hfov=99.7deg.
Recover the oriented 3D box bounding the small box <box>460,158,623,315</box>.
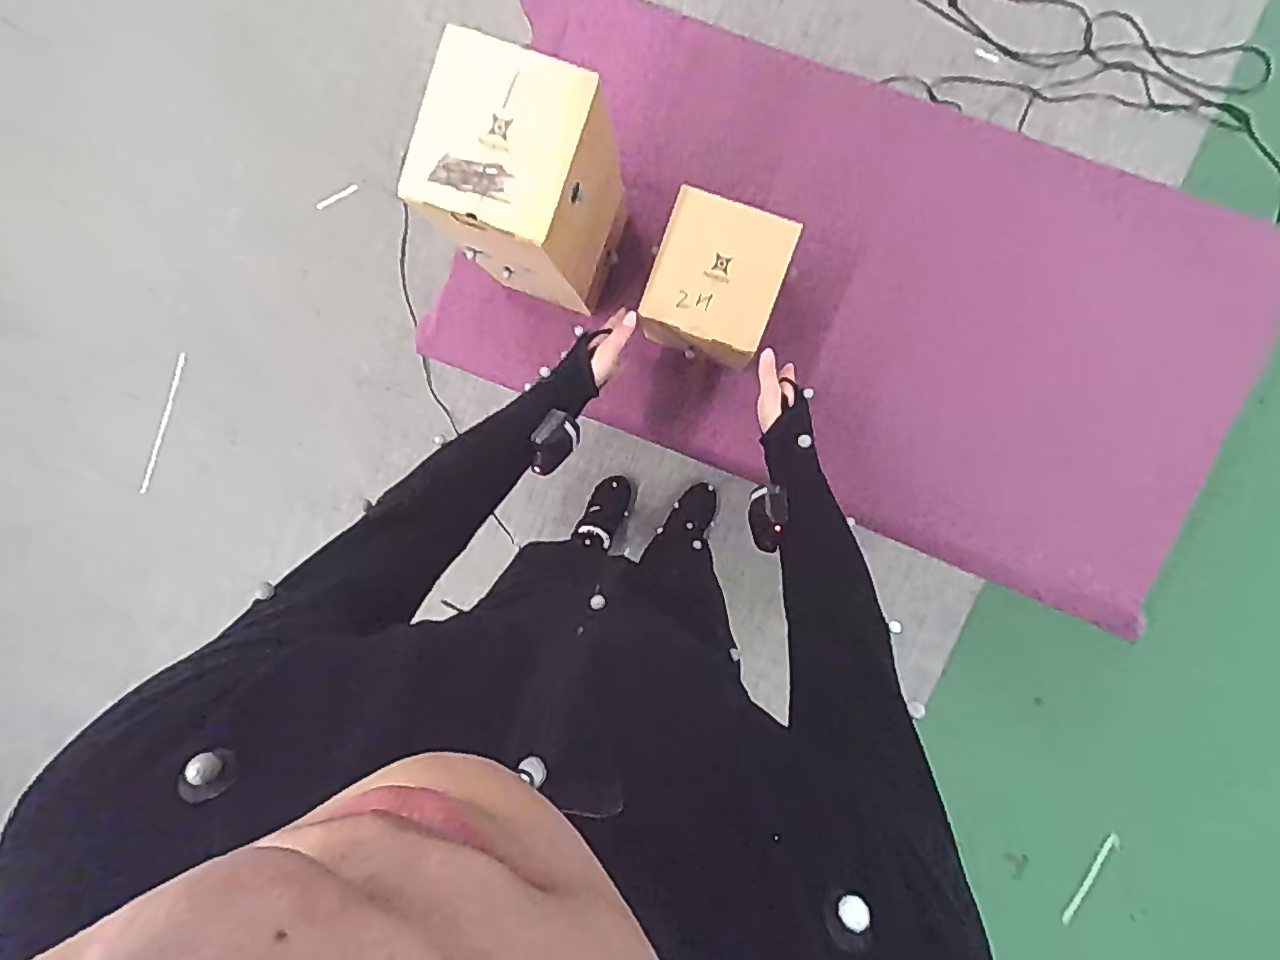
[{"bbox_3d":[-0.130,-0.364,0.785,0.168,0.176,0.179,21,95,3],"label":"small box"}]

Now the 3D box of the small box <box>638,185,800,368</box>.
[{"bbox_3d":[0.105,-0.275,0.774,0.168,0.176,0.179,20,96,3],"label":"small box"}]

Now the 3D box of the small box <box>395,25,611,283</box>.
[{"bbox_3d":[-0.141,-0.351,0.622,0.168,0.176,0.179,21,95,2],"label":"small box"}]
